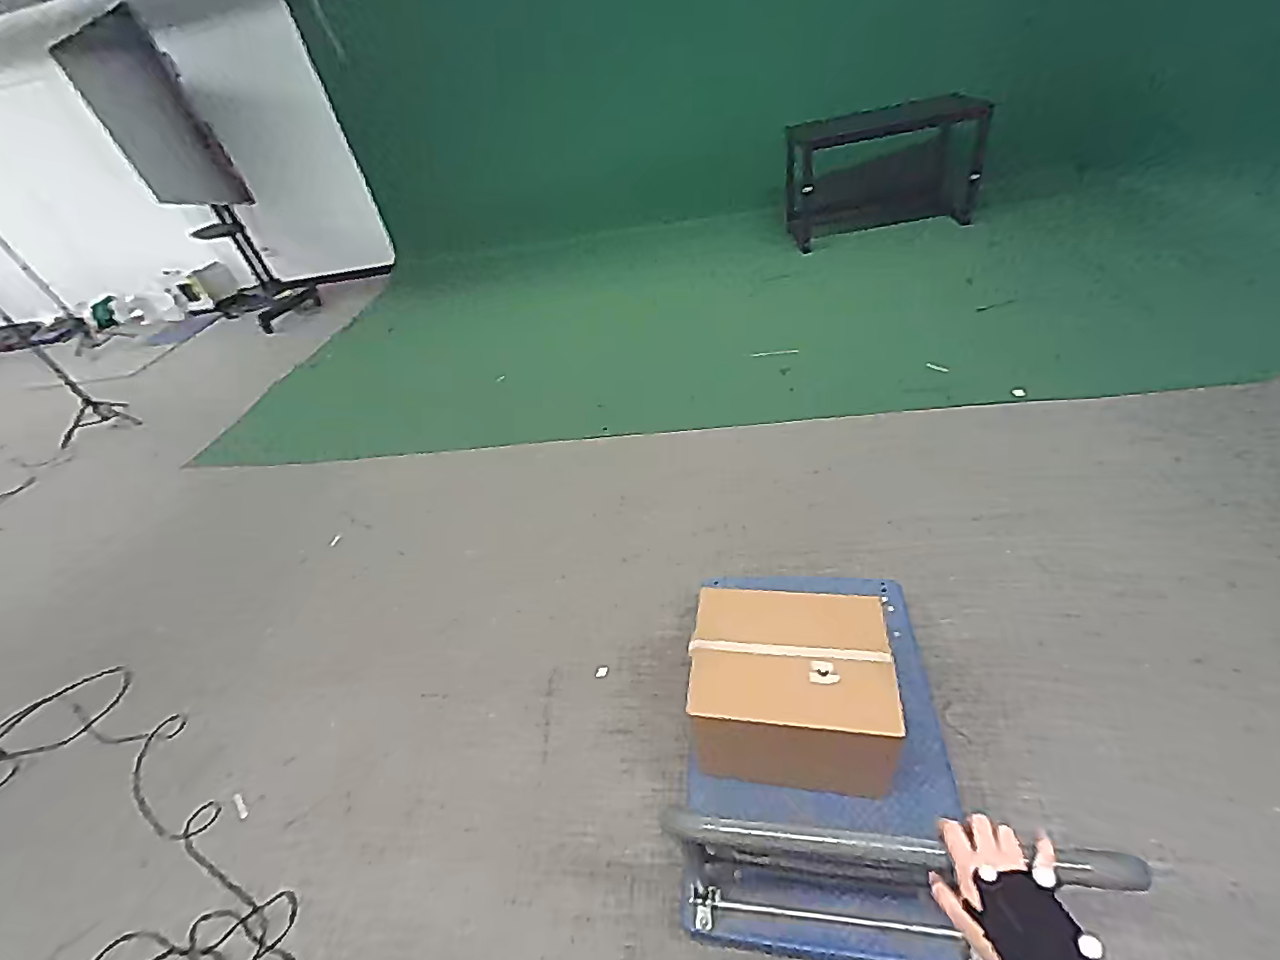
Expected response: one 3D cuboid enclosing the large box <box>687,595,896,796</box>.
[{"bbox_3d":[0.329,0.491,1.251,0.408,0.320,0.320,1,42,13],"label":"large box"}]
